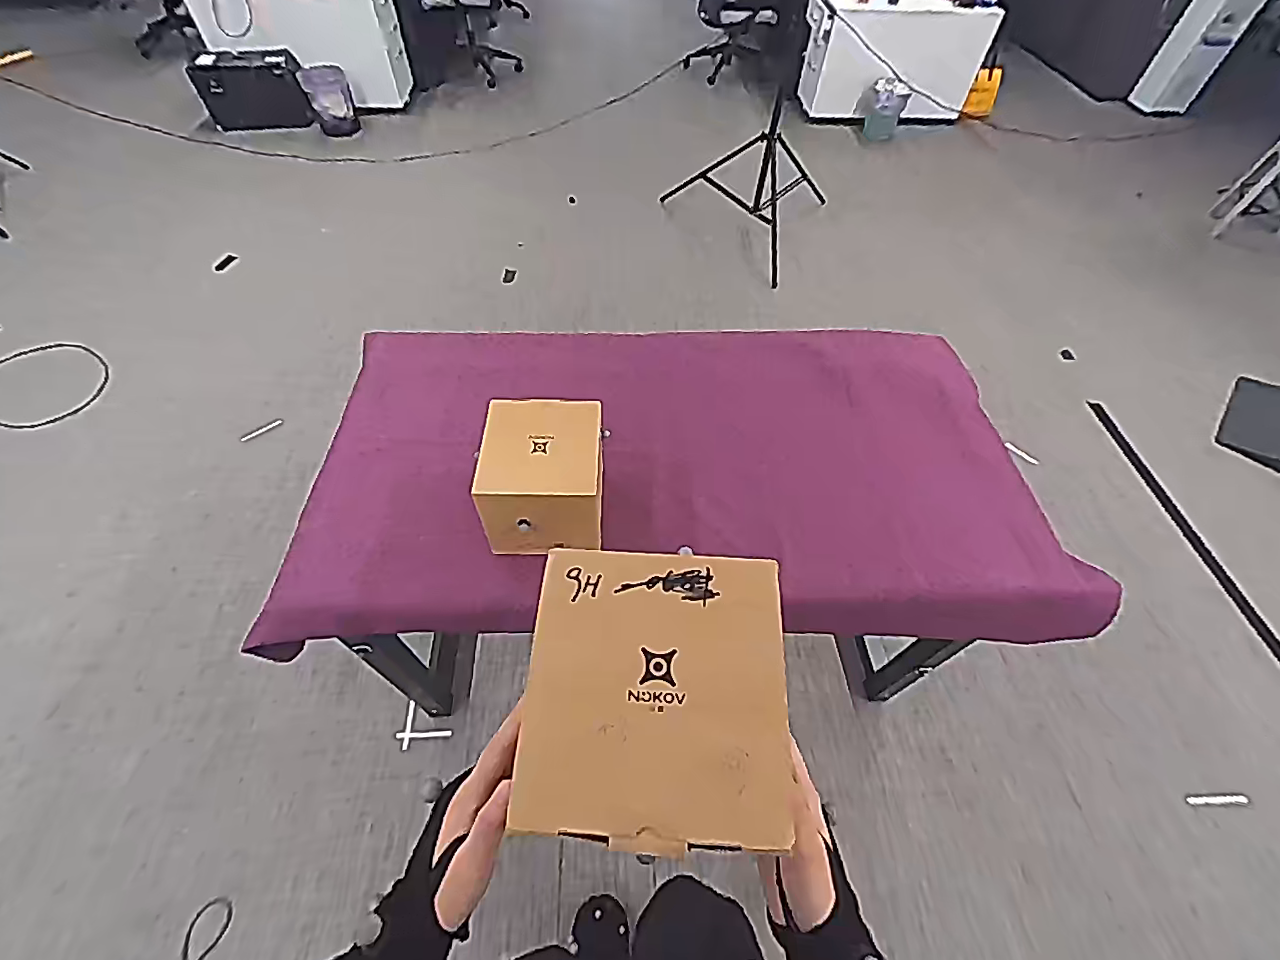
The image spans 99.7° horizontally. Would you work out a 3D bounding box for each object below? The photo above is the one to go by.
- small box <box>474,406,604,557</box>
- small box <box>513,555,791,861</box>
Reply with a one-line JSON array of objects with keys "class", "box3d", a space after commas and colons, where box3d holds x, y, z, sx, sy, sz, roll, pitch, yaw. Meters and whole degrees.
[{"class": "small box", "box3d": [-0.141, 0.007, 0.826, 0.168, 0.176, 0.179, 0, 53, -2]}, {"class": "small box", "box3d": [0.014, 0.173, 0.420, 0.168, 0.176, 0.179, 3, 60, 3]}]
